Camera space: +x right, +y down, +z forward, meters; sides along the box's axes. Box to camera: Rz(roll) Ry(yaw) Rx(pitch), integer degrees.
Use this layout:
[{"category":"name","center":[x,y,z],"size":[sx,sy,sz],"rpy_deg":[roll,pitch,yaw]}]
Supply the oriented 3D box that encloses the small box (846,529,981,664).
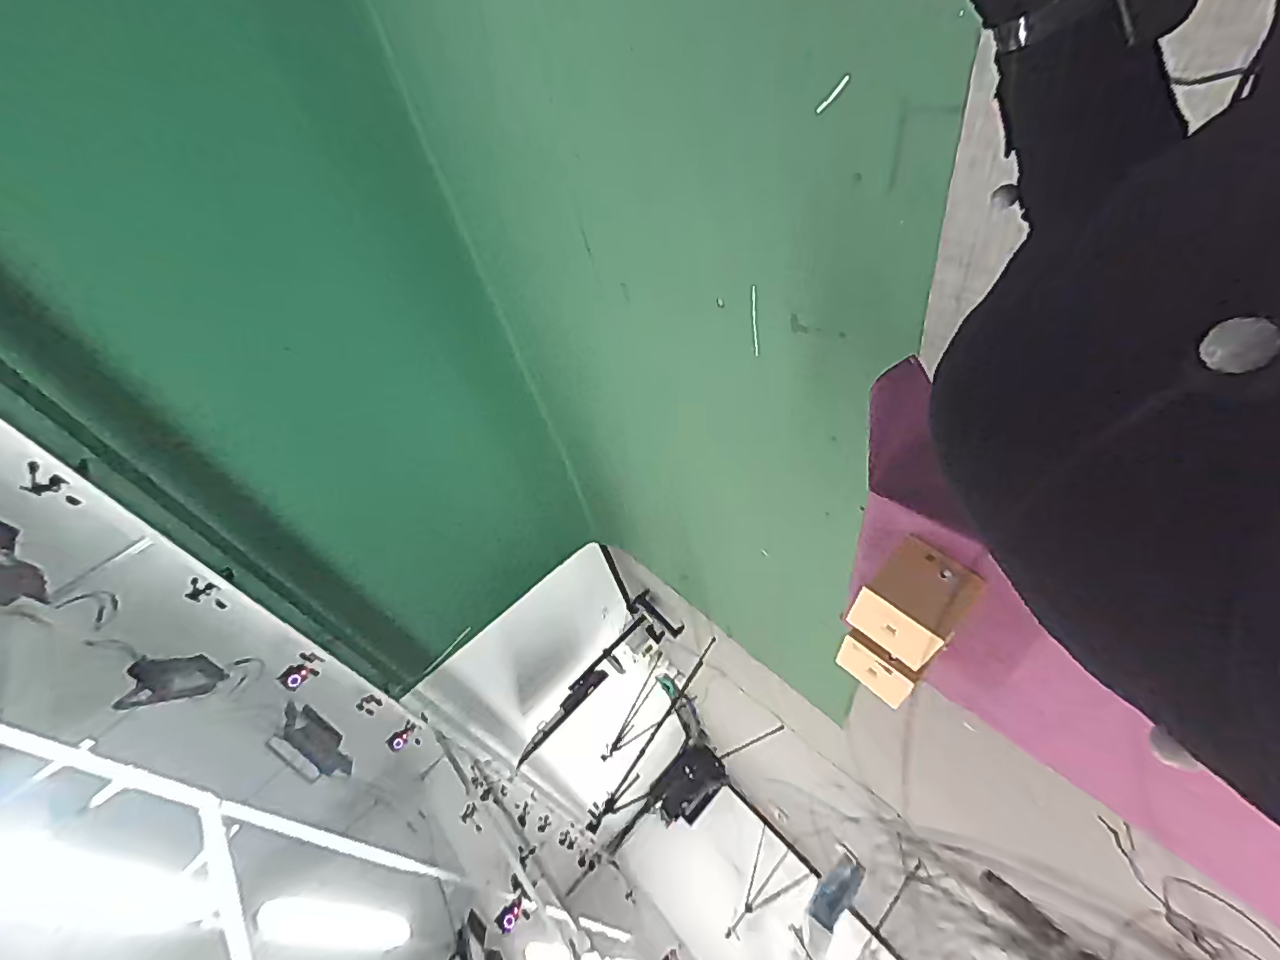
[{"category":"small box","center":[0.555,0.237,1.106],"size":[0.168,0.176,0.179],"rpy_deg":[37,156,28]}]

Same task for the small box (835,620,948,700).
[{"category":"small box","center":[0.591,0.378,1.277],"size":[0.168,0.176,0.179],"rpy_deg":[36,156,30]}]
